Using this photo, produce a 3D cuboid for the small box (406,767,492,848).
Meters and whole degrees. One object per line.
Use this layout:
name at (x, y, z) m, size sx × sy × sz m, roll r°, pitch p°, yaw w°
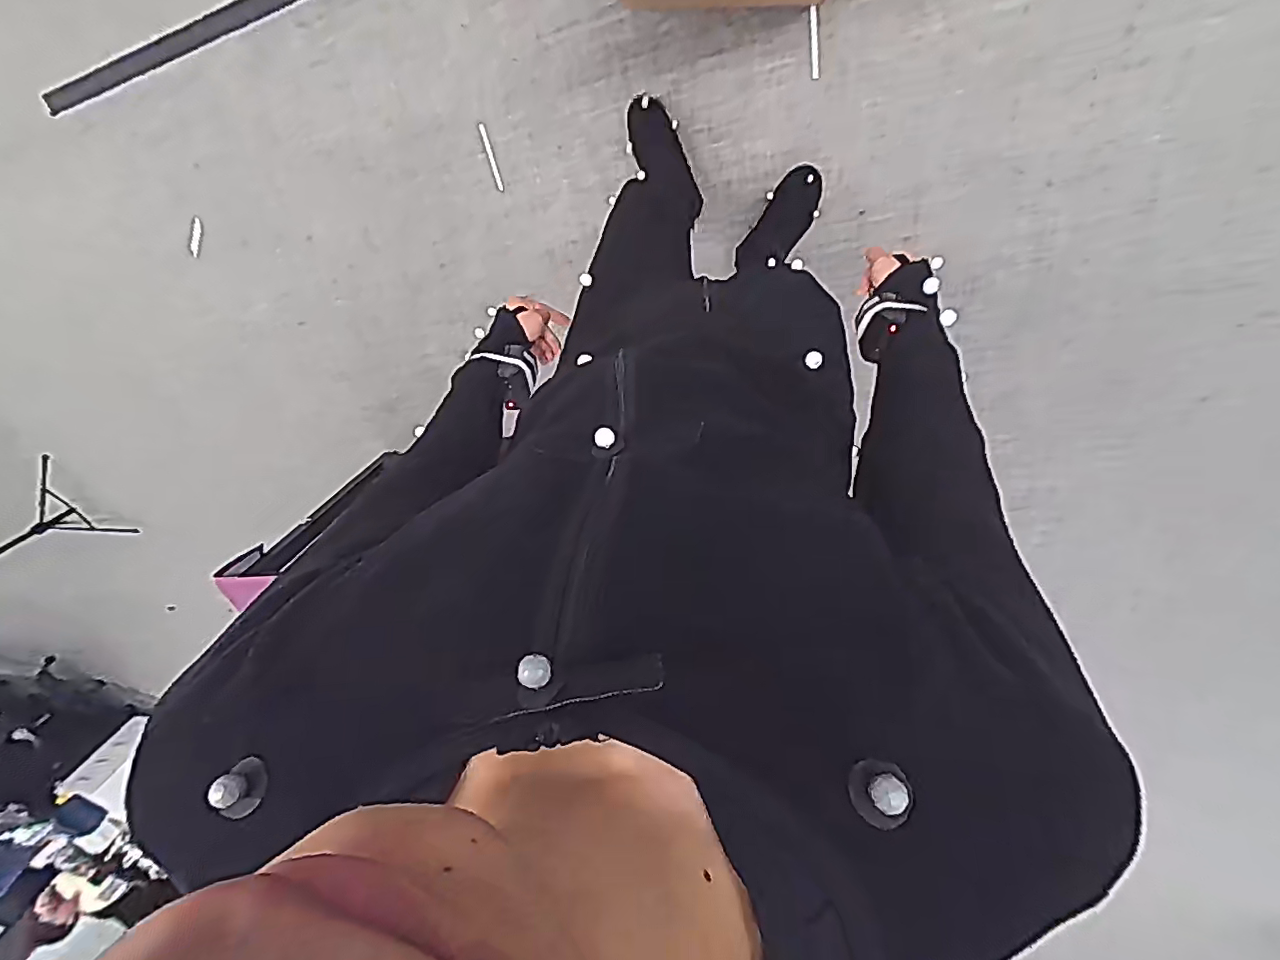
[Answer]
small box at (-0.598, 1.043, 1.730) m, size 0.179 × 0.176 × 0.168 m, roll -13°, pitch 119°, yaw 24°
